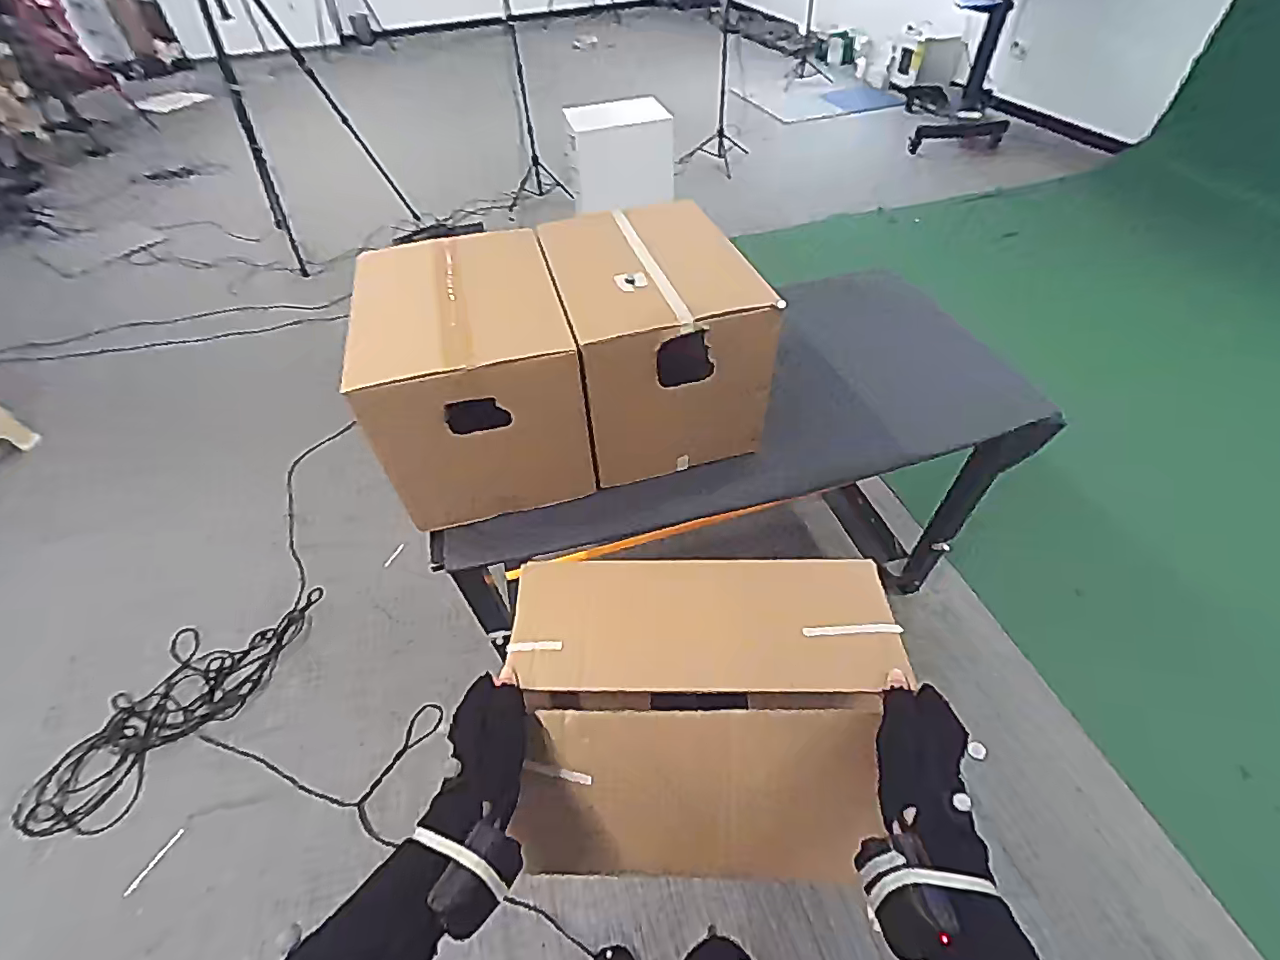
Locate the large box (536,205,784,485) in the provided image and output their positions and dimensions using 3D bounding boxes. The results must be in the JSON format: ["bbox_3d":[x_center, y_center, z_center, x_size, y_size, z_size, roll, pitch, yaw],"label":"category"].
[{"bbox_3d":[0.016,-0.260,1.015,0.320,0.320,0.408,-15,51,-9],"label":"large box"}]
